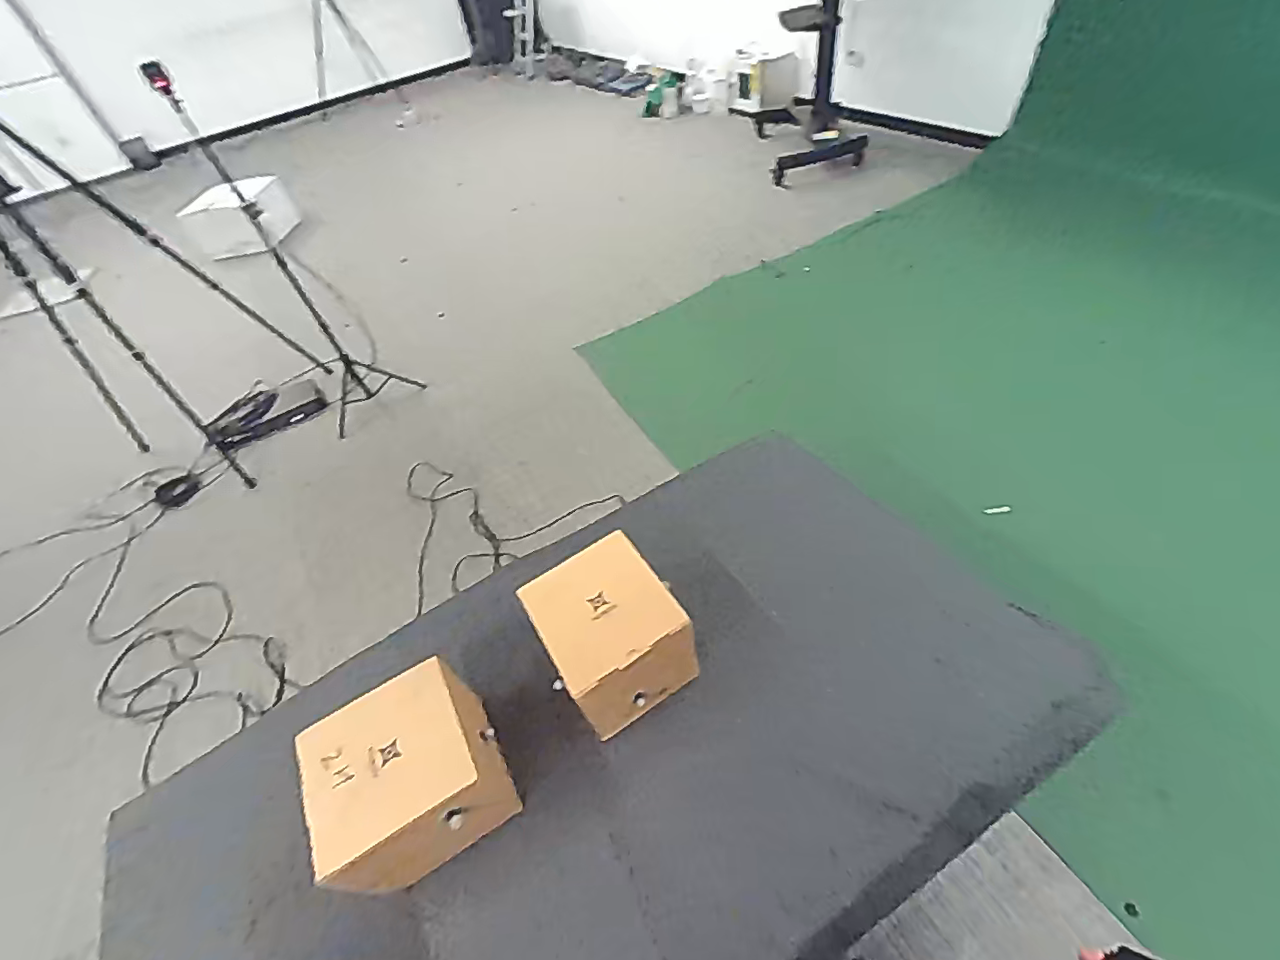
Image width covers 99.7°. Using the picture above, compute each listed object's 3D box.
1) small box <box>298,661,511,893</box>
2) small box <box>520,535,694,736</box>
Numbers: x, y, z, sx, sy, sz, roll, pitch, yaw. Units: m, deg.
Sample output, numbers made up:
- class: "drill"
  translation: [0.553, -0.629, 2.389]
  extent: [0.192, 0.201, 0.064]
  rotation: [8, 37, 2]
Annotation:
- class: "small box"
  translation: [-0.274, 0.362, 0.660]
  extent: [0.179, 0.176, 0.168]
  rotation: [-28, 51, -15]
- class: "small box"
  translation: [-0.040, 0.217, 0.751]
  extent: [0.168, 0.176, 0.179]
  rotation: [-30, 51, -16]
